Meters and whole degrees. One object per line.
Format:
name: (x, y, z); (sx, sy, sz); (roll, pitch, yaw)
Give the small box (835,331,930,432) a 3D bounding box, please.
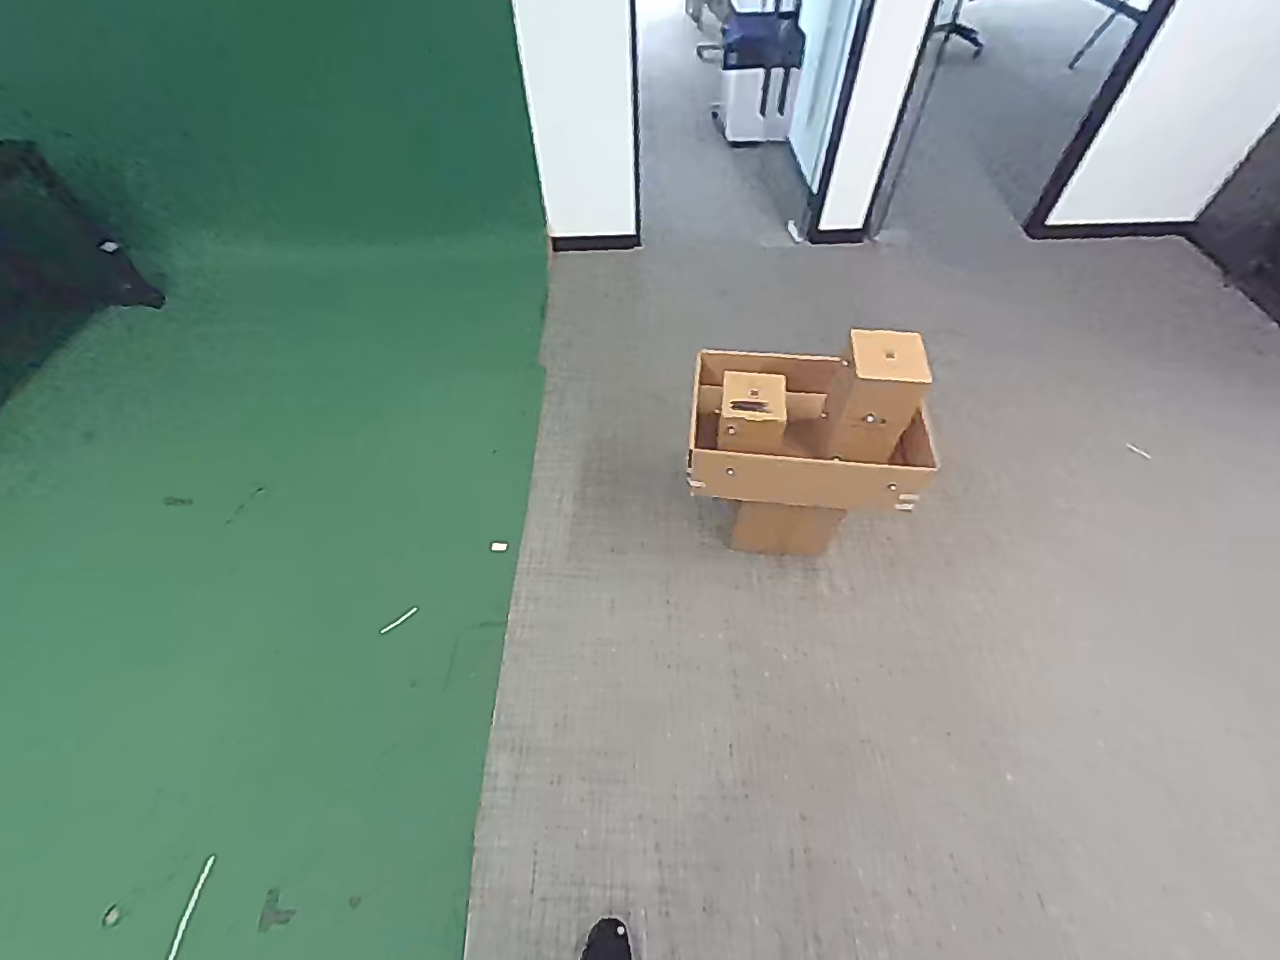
small box: (0.591, -0.243, 1.343); (0.168, 0.176, 0.179); (6, 54, 6)
